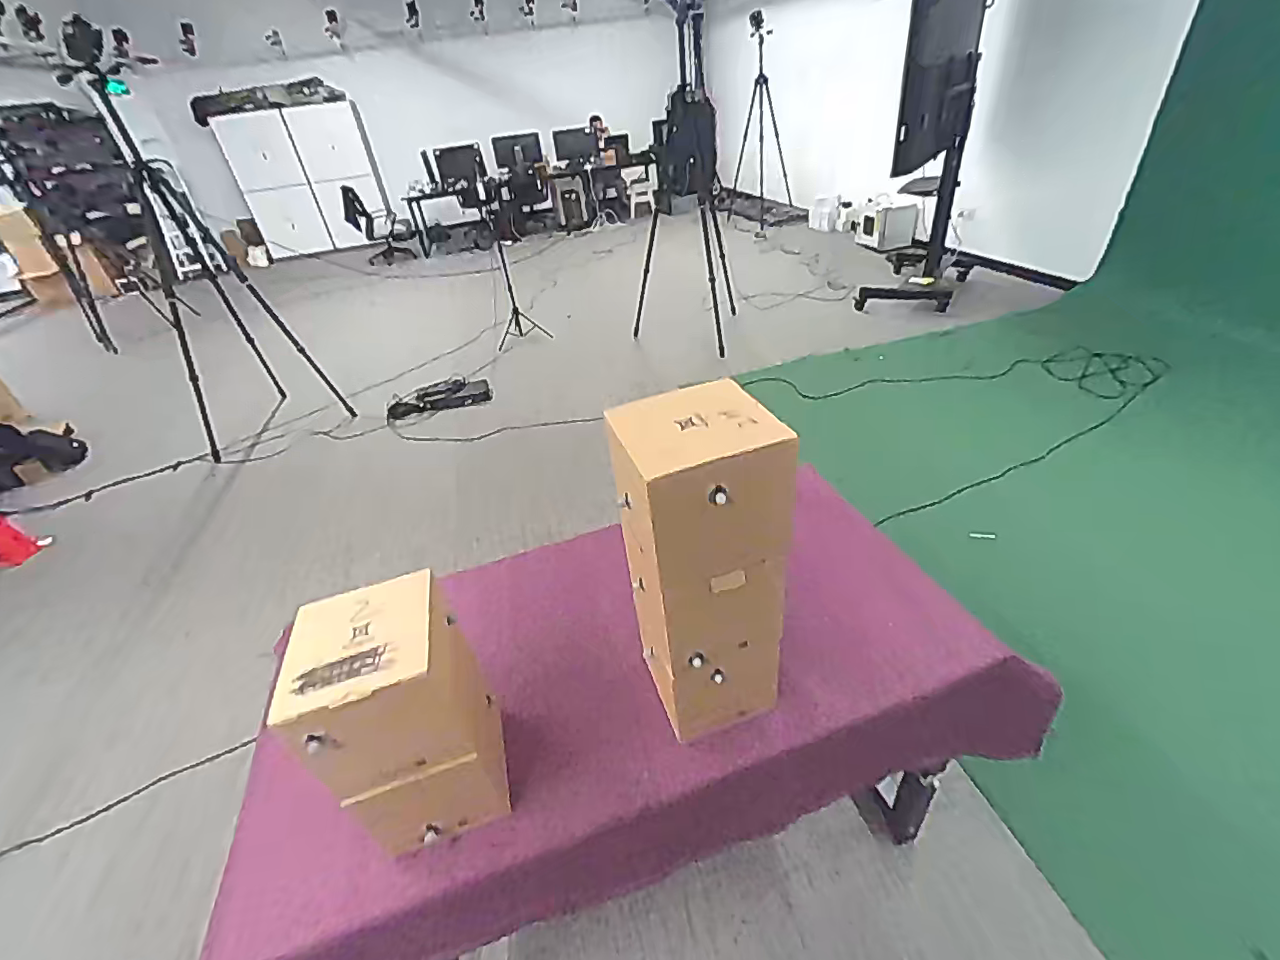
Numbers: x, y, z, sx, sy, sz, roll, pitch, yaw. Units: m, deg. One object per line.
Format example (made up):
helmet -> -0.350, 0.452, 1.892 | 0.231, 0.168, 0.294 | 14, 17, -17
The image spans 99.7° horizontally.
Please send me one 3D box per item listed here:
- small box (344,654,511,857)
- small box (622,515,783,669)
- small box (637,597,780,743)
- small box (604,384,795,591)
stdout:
small box -> -0.291, 0.389, 0.773 | 0.168, 0.176, 0.179 | -16, 37, -10
small box -> 0.086, 0.139, 0.760 | 0.168, 0.176, 0.179 | -17, 36, -12
small box -> 0.104, 0.273, 0.855 | 0.168, 0.176, 0.179 | -17, 36, -10
small box -> 0.070, 0.008, 0.661 | 0.179, 0.176, 0.168 | -16, 37, -11
